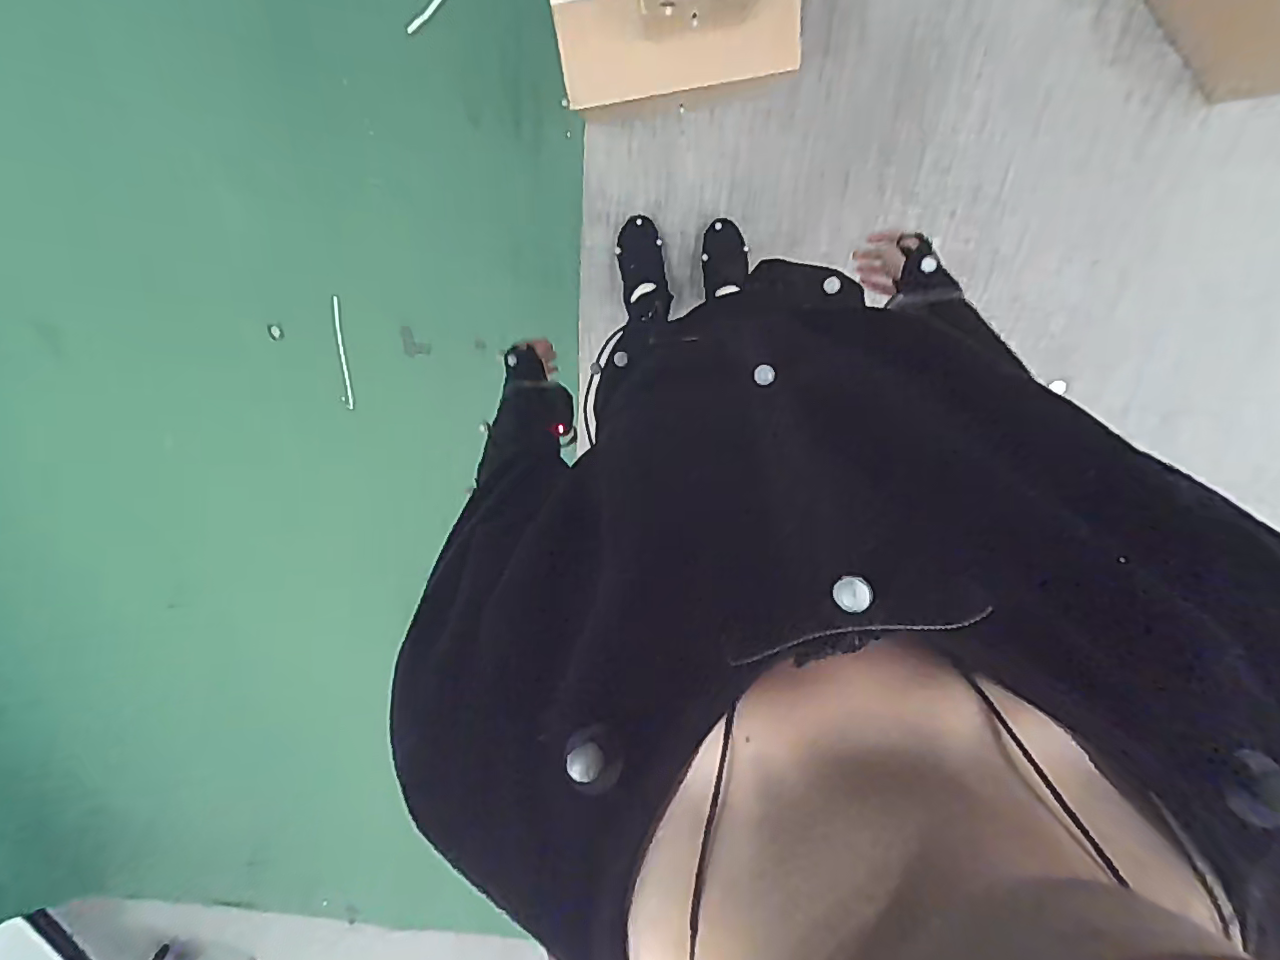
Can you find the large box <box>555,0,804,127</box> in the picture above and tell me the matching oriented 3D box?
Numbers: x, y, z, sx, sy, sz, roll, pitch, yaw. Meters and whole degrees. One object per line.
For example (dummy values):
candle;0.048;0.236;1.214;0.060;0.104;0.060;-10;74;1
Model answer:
large box;0.067;-0.876;0.994;0.408;0.320;0.320;-6;117;8
